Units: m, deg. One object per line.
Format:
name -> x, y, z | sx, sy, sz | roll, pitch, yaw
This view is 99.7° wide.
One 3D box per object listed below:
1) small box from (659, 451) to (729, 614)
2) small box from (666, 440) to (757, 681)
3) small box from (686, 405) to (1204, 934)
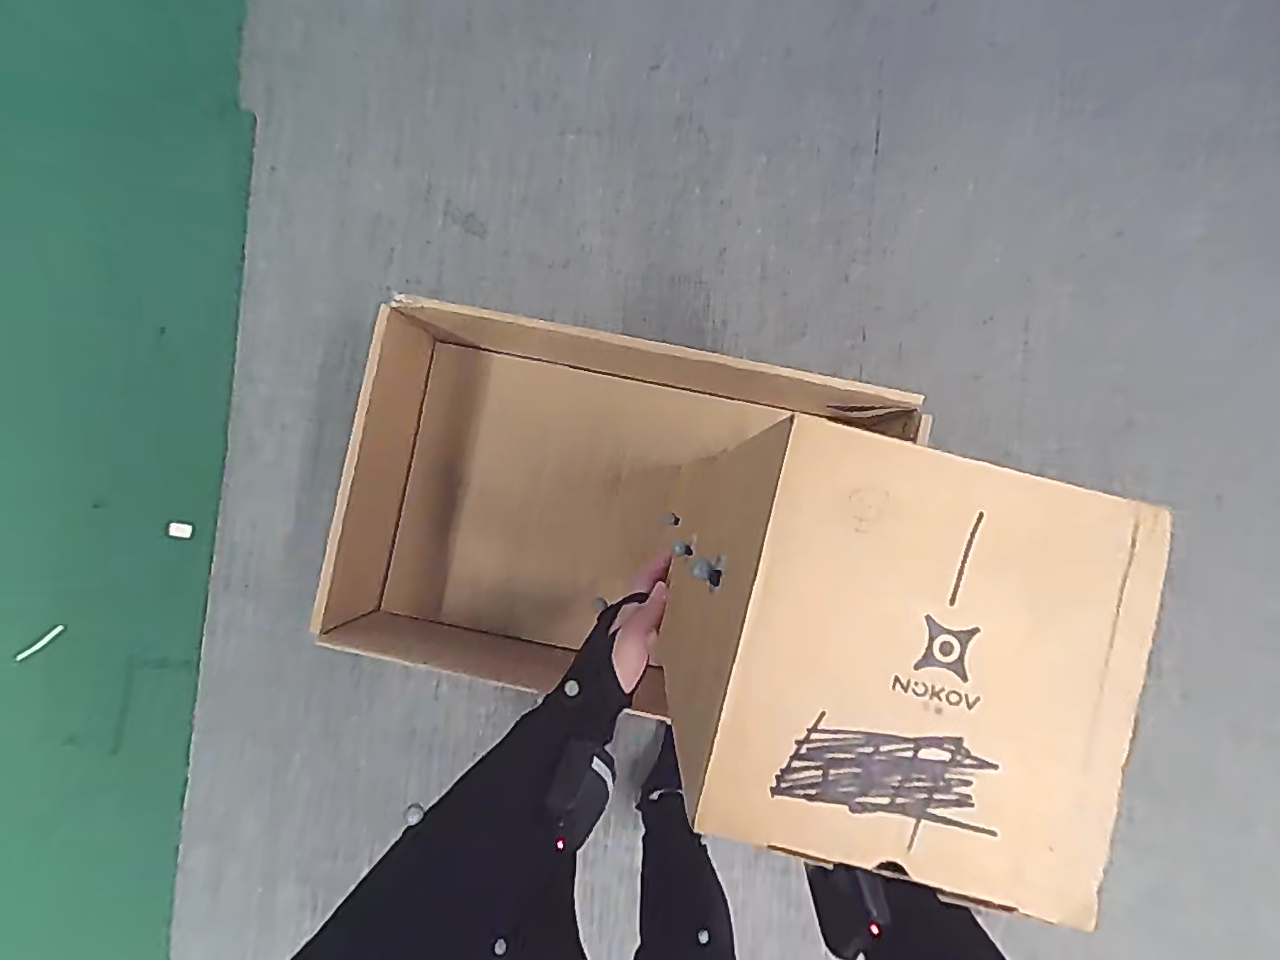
small box -> 0.121, 0.078, 0.620 | 0.168, 0.176, 0.179 | 15, 87, 0
small box -> 0.122, 0.078, 0.457 | 0.168, 0.176, 0.179 | 15, 88, -1
small box -> 0.125, 0.077, 0.294 | 0.168, 0.176, 0.179 | 15, 87, 0
